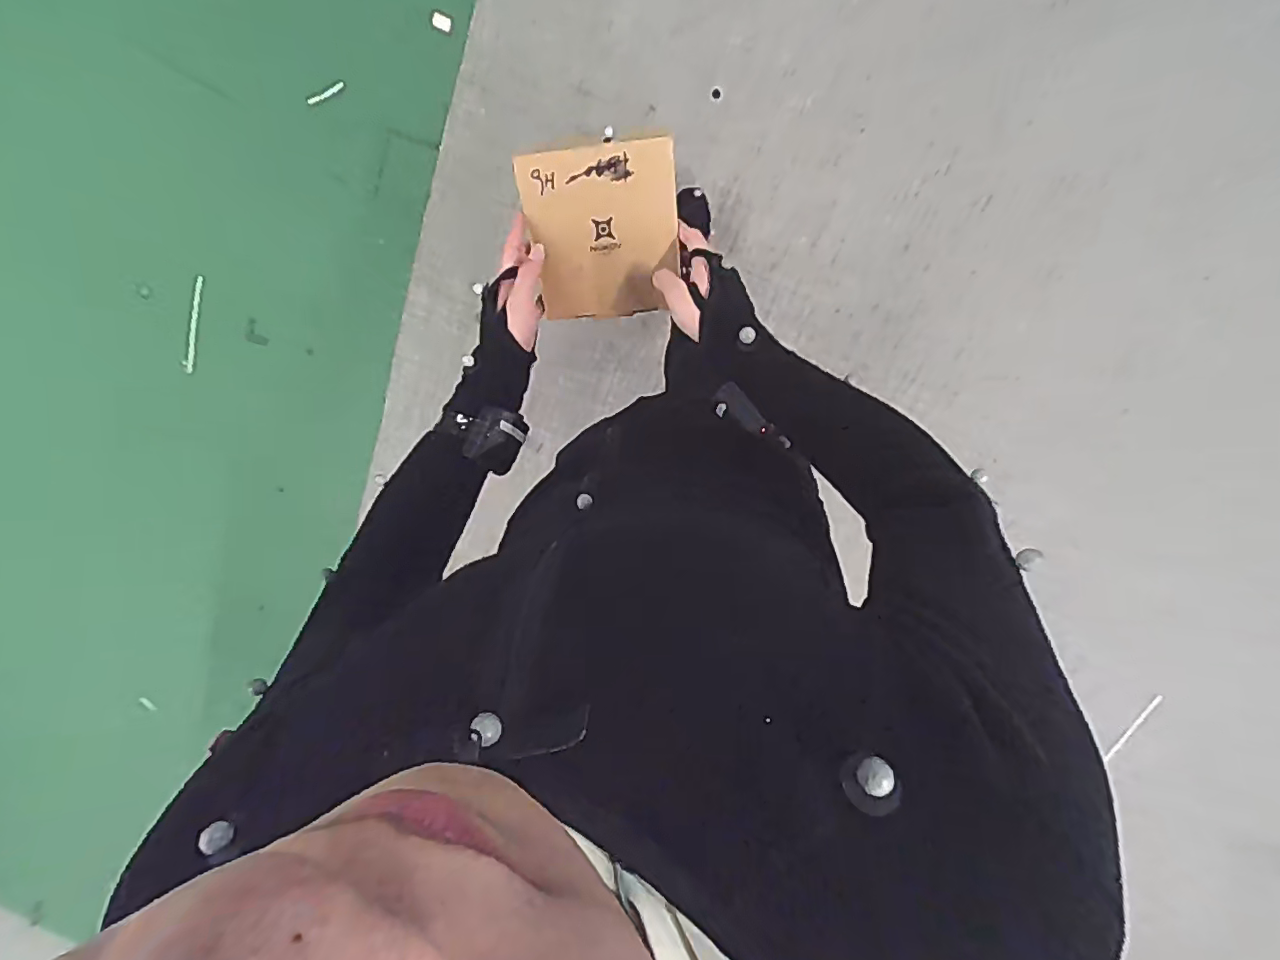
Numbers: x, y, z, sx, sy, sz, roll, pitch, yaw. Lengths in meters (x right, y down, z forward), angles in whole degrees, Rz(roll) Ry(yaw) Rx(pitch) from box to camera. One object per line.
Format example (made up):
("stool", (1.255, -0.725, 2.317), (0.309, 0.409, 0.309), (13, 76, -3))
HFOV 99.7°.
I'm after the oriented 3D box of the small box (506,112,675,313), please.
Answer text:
("small box", (-0.044, -0.320, 0.646), (0.168, 0.176, 0.179), (-4, 128, 4))
